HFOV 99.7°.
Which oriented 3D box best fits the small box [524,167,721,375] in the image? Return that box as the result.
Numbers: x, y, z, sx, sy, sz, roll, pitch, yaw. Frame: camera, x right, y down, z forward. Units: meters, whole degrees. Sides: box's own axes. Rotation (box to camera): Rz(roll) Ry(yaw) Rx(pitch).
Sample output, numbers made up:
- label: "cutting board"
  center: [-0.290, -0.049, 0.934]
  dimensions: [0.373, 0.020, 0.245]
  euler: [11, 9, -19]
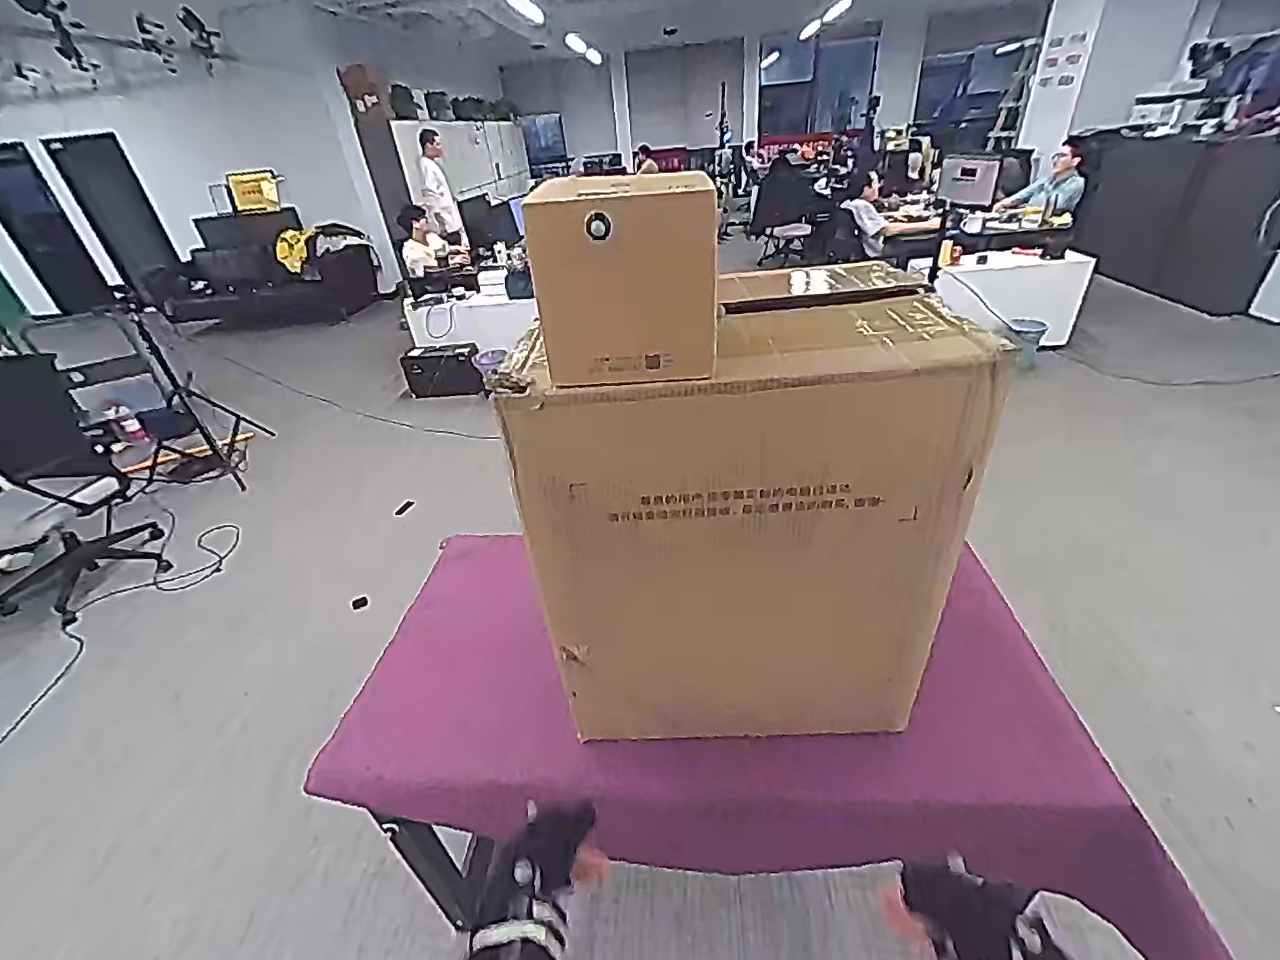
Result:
- label: "small box"
  center: [-0.009, -0.217, 0.556]
  dimensions: [0.168, 0.176, 0.179]
  euler: [-3, 33, 3]
